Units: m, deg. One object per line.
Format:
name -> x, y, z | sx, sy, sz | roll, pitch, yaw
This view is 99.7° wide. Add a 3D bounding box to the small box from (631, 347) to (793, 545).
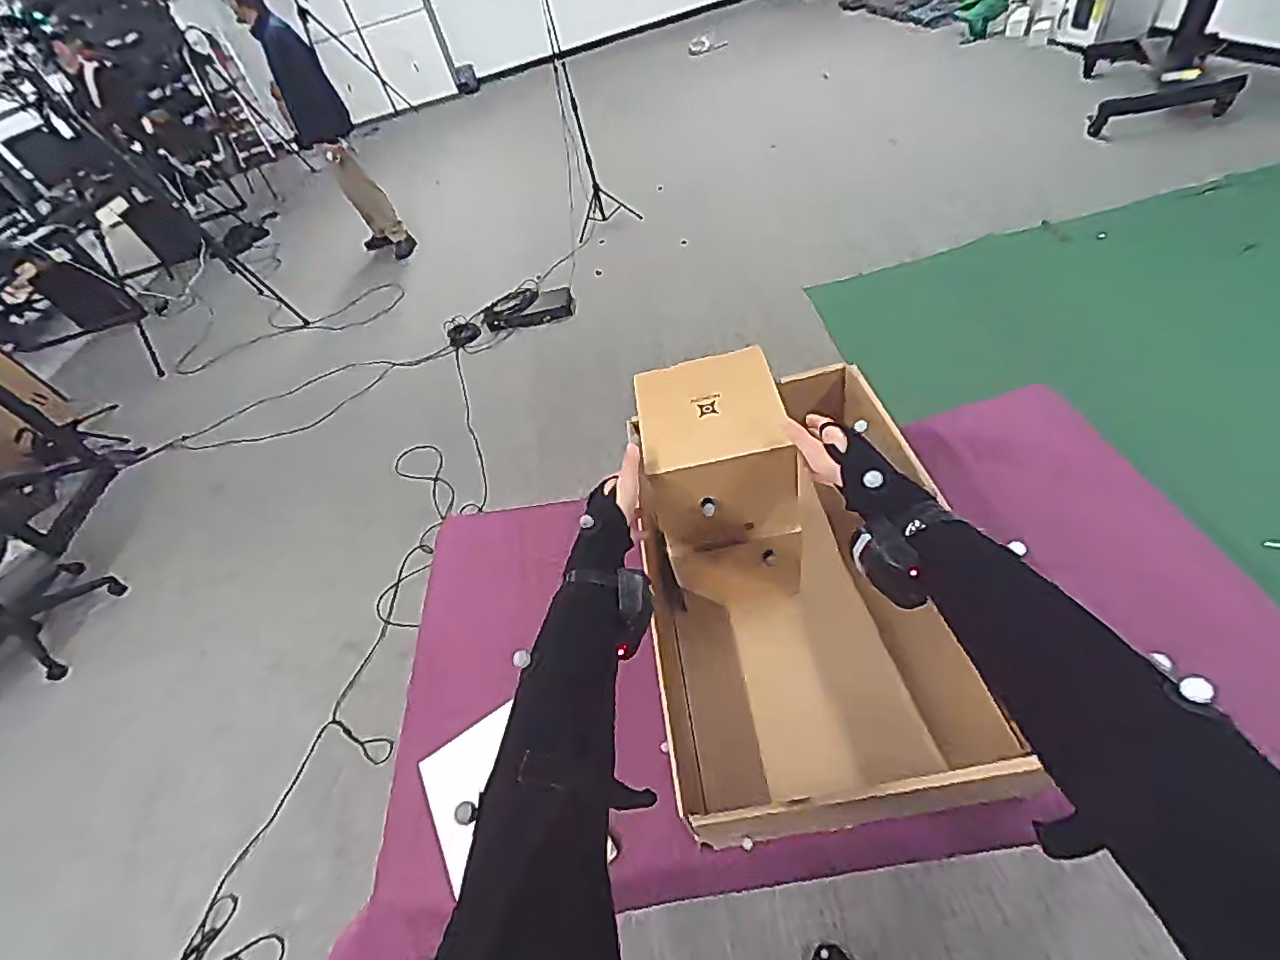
small box -> 0.093, -0.034, 0.687 | 0.168, 0.176, 0.179 | -12, 48, 6
